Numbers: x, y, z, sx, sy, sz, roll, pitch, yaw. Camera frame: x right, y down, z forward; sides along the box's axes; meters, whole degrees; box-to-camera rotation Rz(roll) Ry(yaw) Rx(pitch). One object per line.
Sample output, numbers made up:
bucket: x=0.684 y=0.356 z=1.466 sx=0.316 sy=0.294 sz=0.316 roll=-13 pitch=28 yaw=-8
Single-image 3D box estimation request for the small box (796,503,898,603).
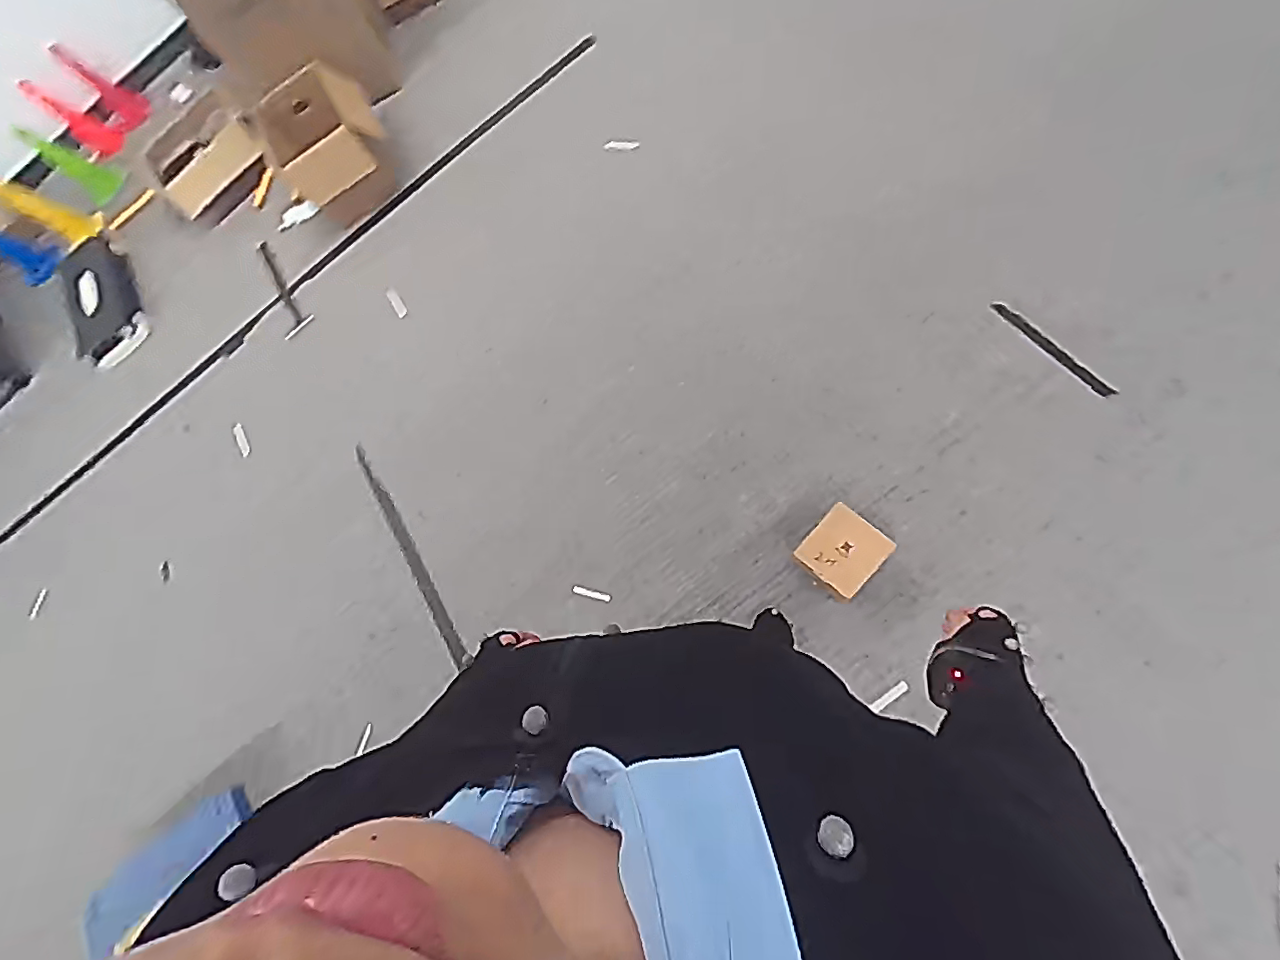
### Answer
small box: x=0.505 y=0.187 z=1.348 sx=0.168 sy=0.176 sz=0.179 roll=42 pitch=89 yaw=21
